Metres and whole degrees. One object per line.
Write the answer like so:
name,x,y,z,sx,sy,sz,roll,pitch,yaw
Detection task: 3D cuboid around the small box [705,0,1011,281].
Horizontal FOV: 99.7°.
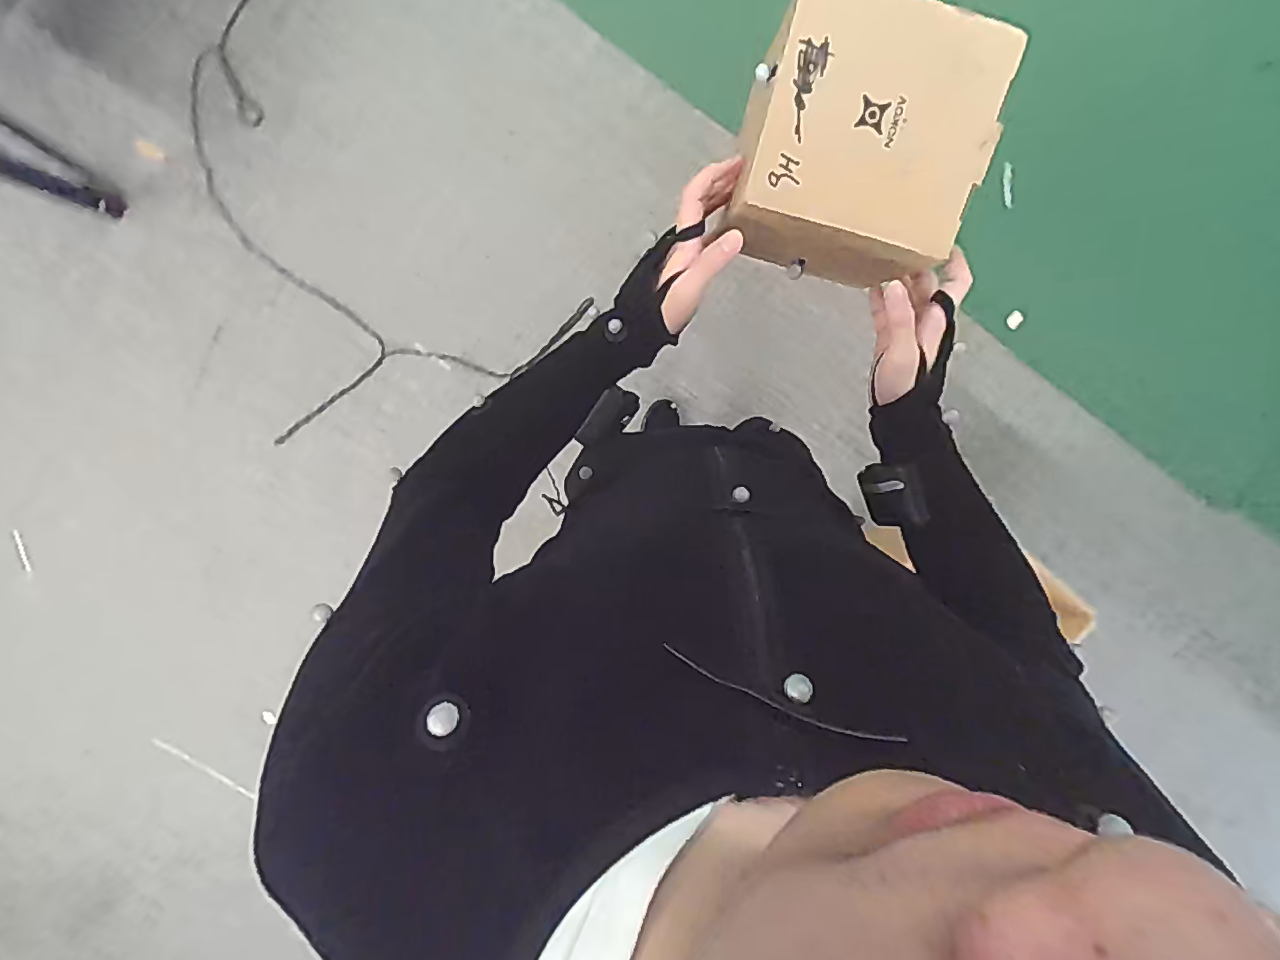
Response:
small box,0.172,-0.290,0.489,0.179,0.176,0.168,13,100,-5
